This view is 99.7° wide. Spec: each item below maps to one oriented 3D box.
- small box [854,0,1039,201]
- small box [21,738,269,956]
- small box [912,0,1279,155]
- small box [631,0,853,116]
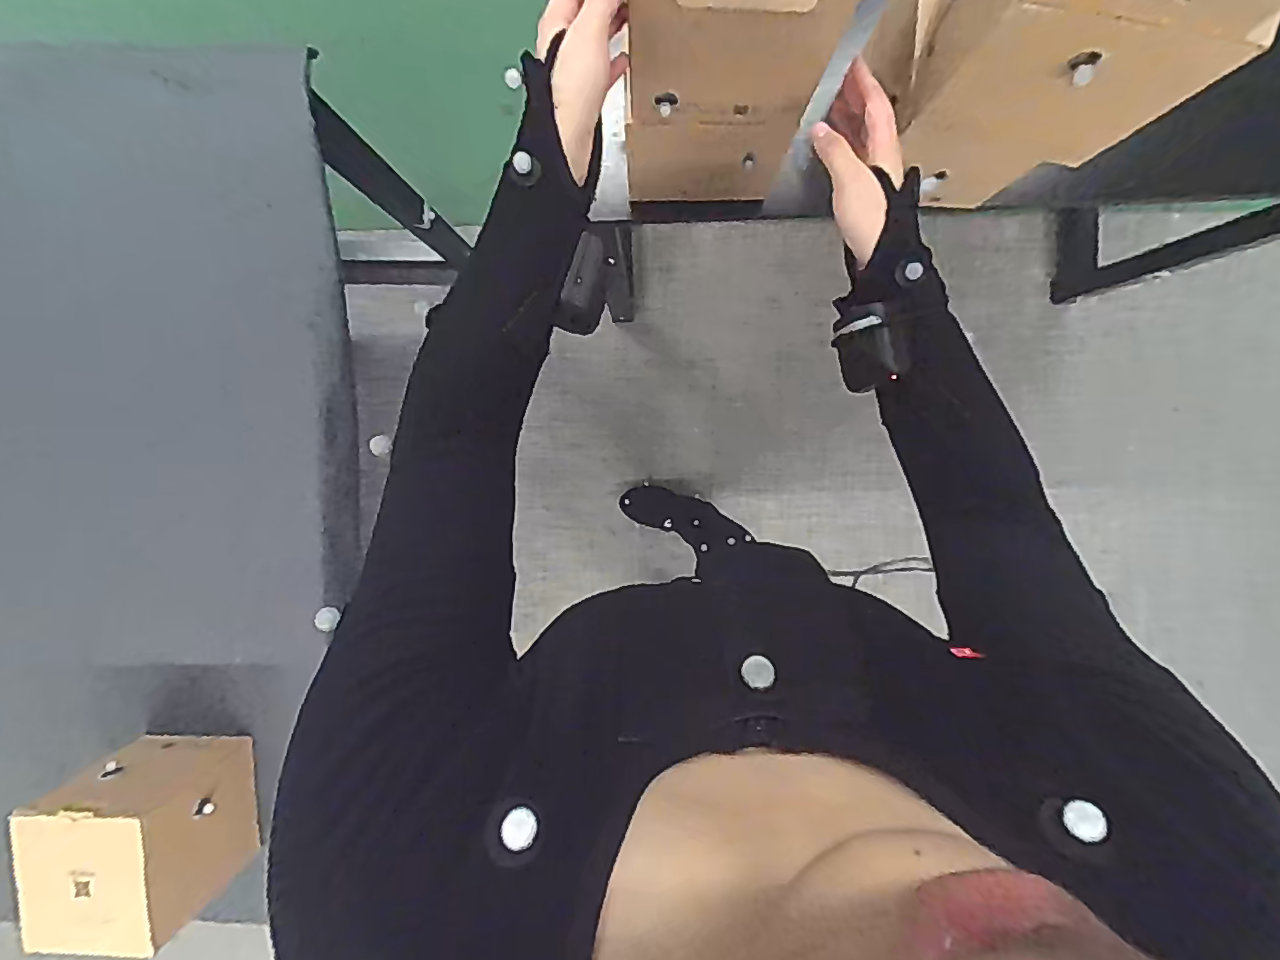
[{"bbox_3d":[0.348,-0.427,0.591,0.168,0.176,0.179,3,95,1],"label":"small box"},{"bbox_3d":[-0.625,0.461,0.705,0.168,0.176,0.179,-1,96,4],"label":"small box"},{"bbox_3d":[0.357,-0.392,0.431,0.179,0.176,0.168,11,96,0],"label":"small box"},{"bbox_3d":[0.080,-0.428,0.434,0.168,0.176,0.179,2,94,0],"label":"small box"}]
